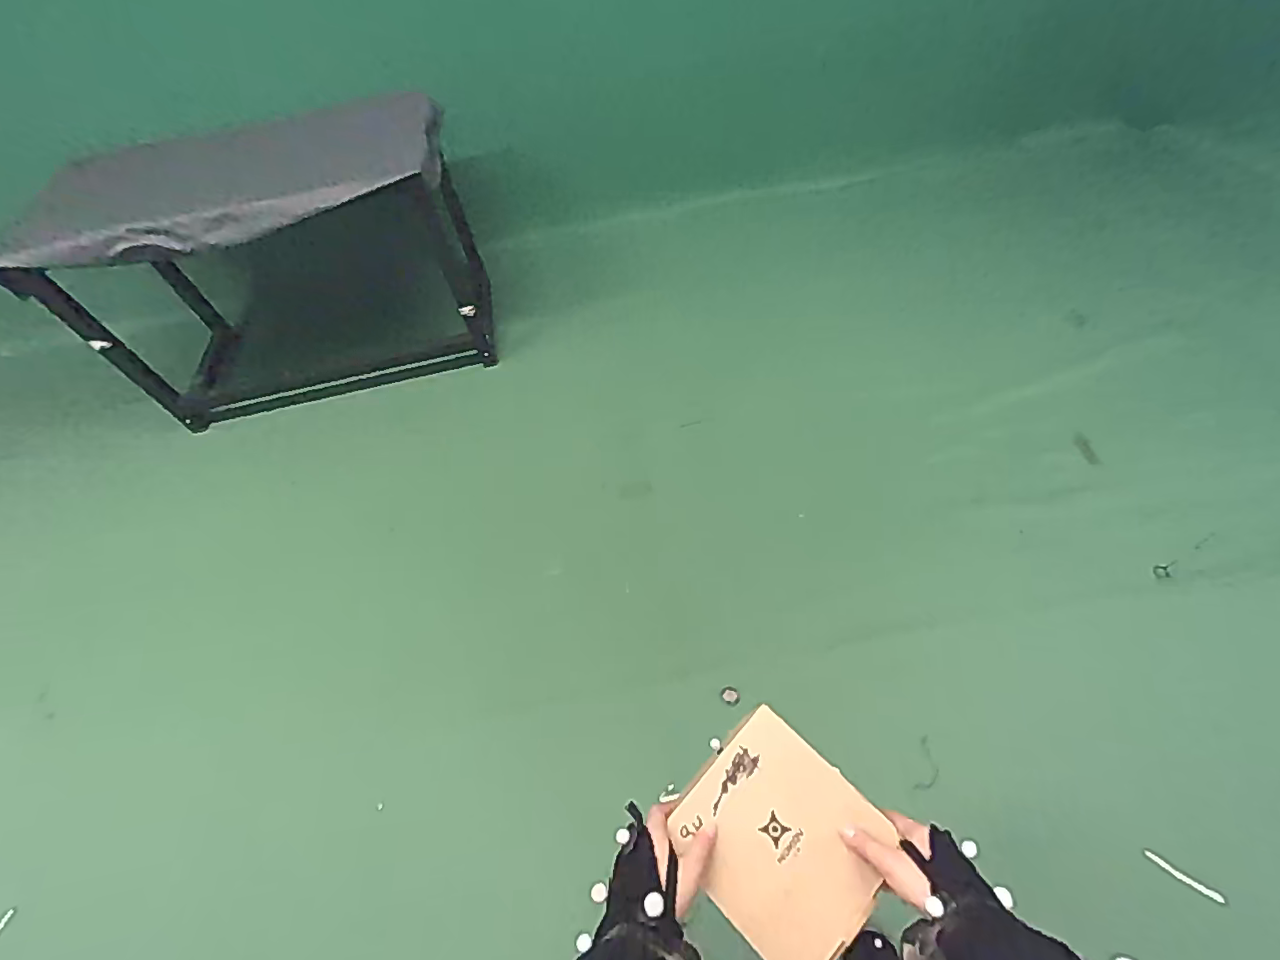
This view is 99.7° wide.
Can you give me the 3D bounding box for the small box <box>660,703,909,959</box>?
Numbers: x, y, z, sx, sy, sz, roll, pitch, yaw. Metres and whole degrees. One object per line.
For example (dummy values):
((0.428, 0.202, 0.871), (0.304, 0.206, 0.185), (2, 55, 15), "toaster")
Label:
((0.141, 0.370, 0.582), (0.168, 0.176, 0.179), (-42, 67, -17), "small box")
